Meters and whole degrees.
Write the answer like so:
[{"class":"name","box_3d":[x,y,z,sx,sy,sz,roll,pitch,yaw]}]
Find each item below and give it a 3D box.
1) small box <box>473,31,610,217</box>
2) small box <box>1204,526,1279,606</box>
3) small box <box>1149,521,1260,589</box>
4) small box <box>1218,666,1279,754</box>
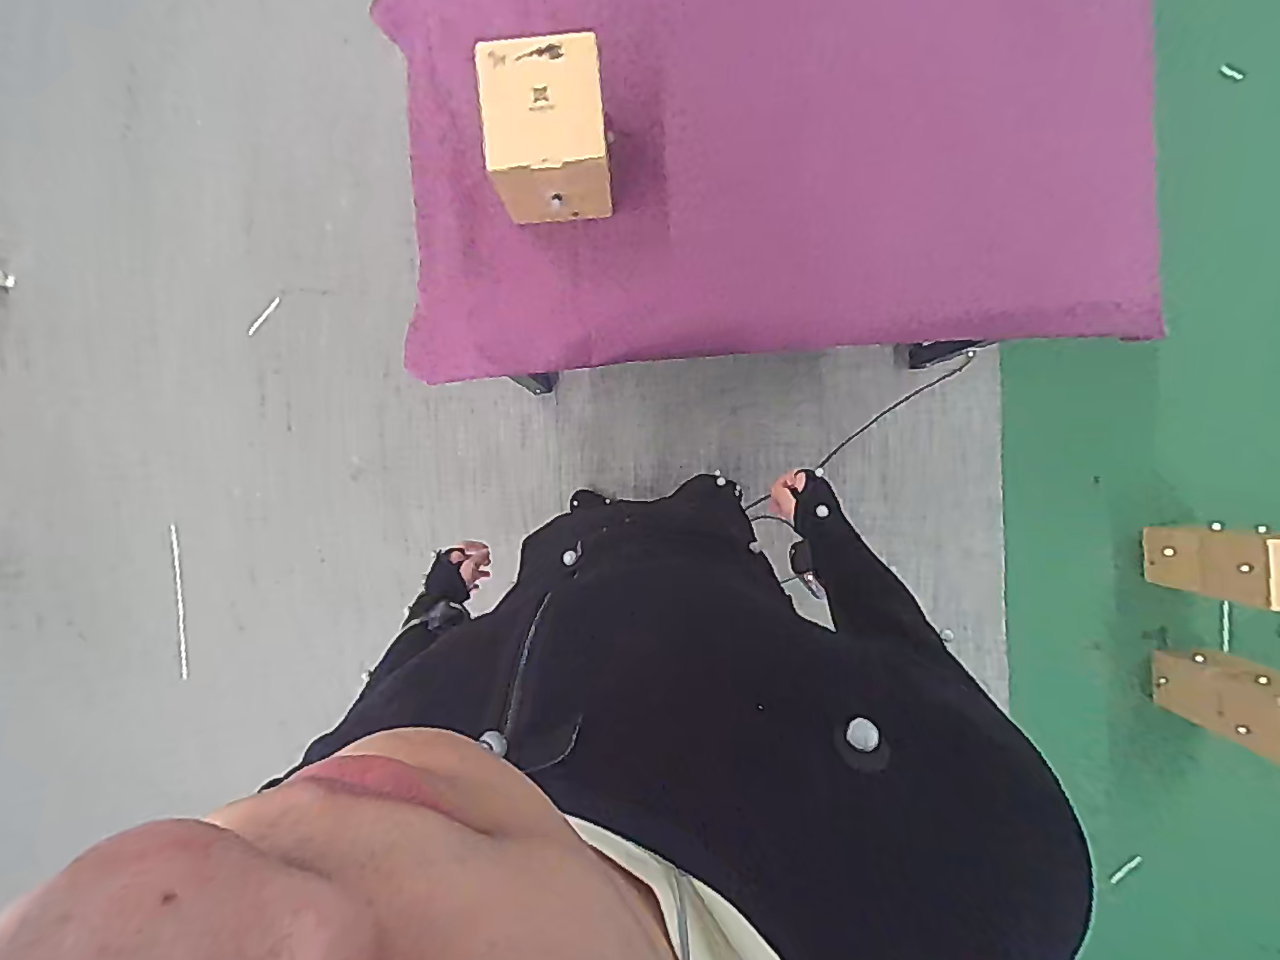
[{"class":"small box","box_3d":[-0.136,-0.514,0.809,0.168,0.176,0.179,-5,92,1]},{"class":"small box","box_3d":[1.585,0.209,1.362,0.168,0.176,0.179,-4,91,1]},{"class":"small box","box_3d":[1.592,0.208,1.526,0.179,0.176,0.168,-4,91,0]},{"class":"small box","box_3d":[1.631,0.584,1.370,0.179,0.176,0.168,-4,93,2]}]
